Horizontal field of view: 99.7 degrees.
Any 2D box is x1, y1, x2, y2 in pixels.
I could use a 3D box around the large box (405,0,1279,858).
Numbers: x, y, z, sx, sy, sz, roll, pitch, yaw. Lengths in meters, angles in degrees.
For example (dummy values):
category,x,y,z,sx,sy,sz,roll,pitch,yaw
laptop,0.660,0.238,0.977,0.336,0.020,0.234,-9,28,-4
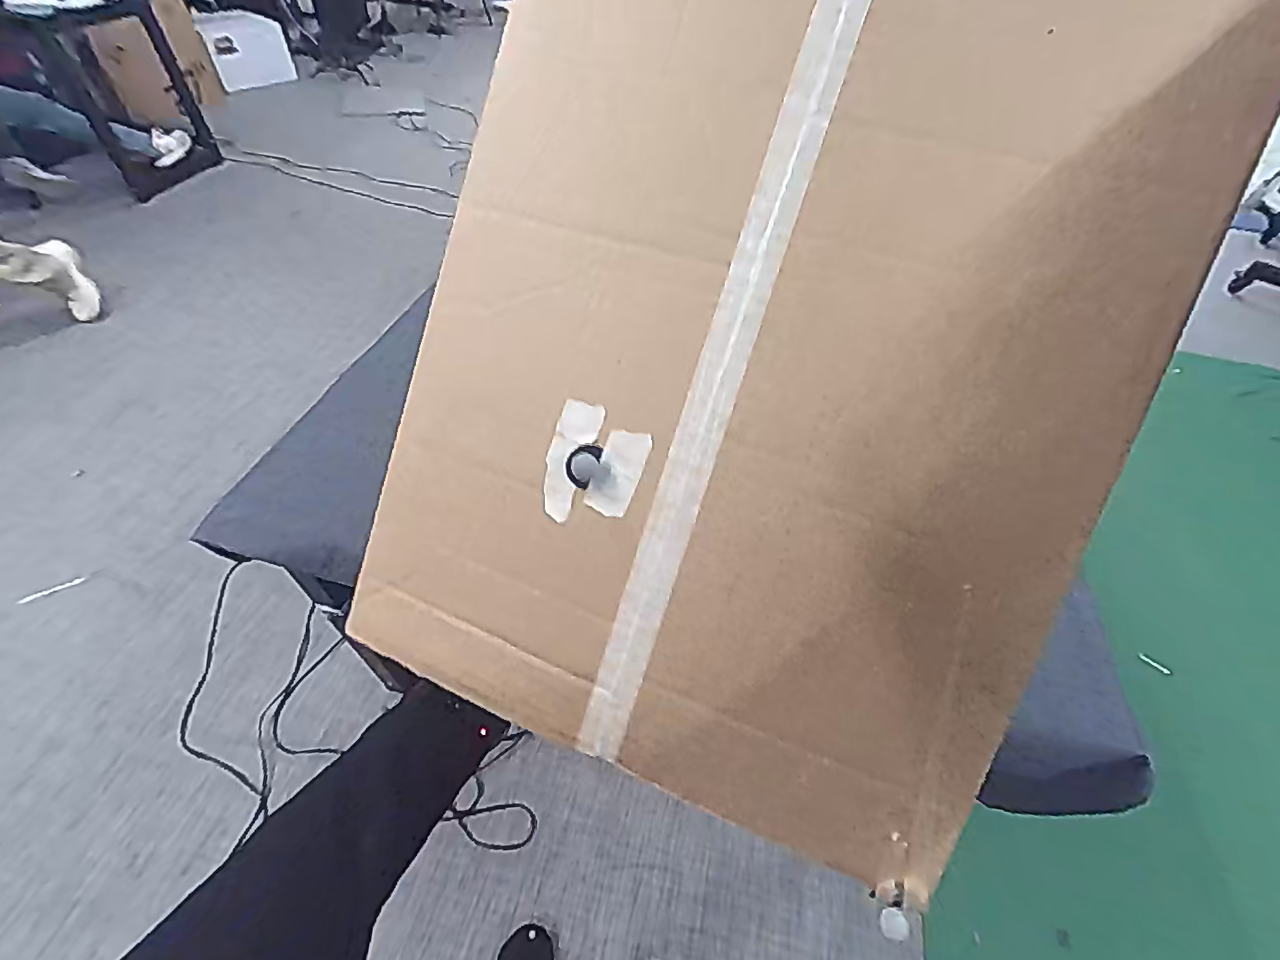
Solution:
category,x,y,z,sx,sy,sz,roll,pitch,yaw
large box,0.088,-0.061,0.407,0.320,0.408,0.320,19,8,13
